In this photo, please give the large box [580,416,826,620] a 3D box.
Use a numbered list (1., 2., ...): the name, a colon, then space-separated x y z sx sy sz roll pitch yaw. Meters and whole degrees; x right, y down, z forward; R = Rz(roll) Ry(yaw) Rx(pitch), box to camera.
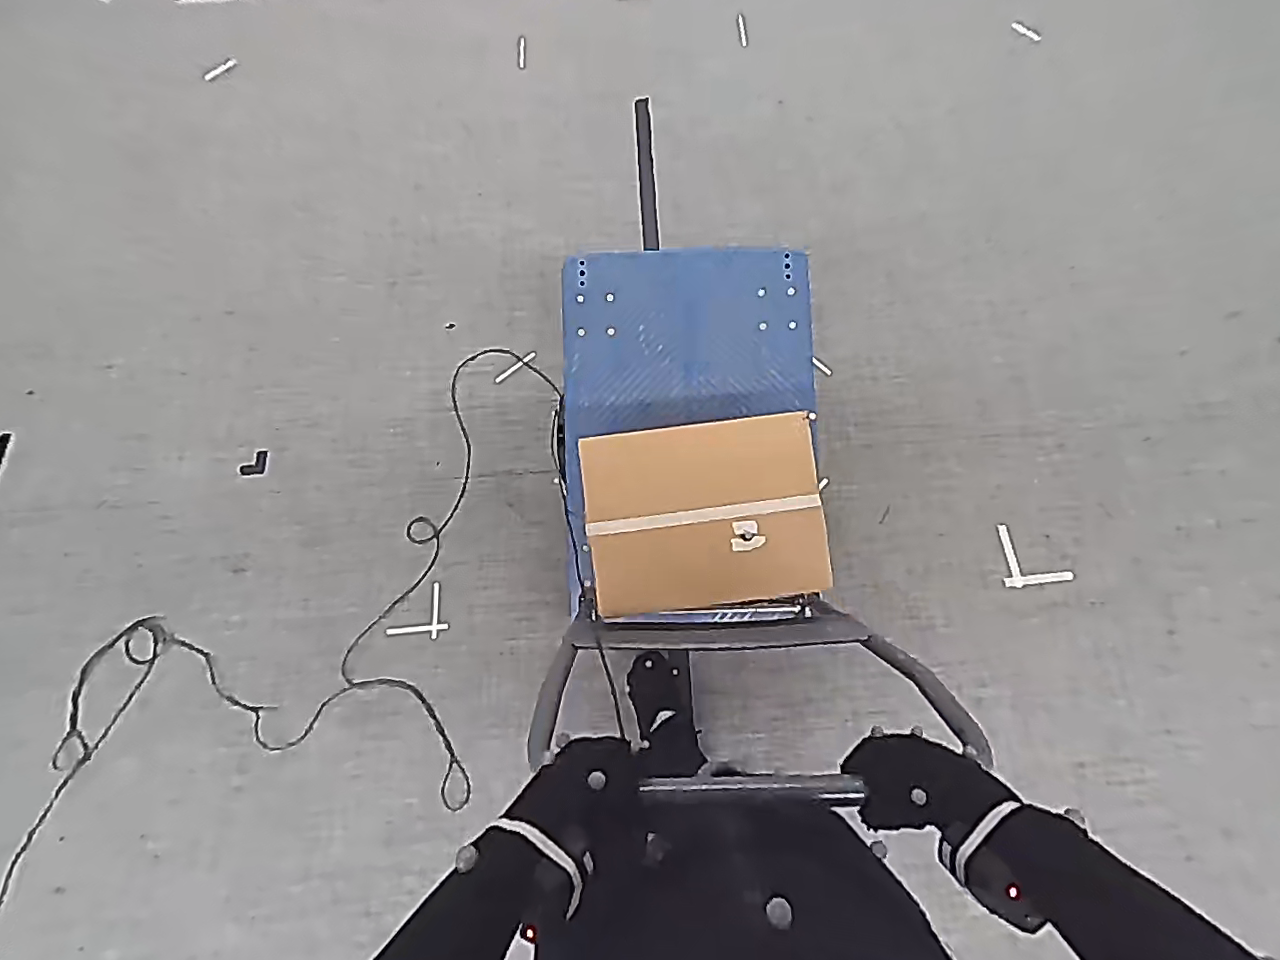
1. large box: 0.108 0.075 1.098 0.408 0.320 0.320 -8 87 -1
